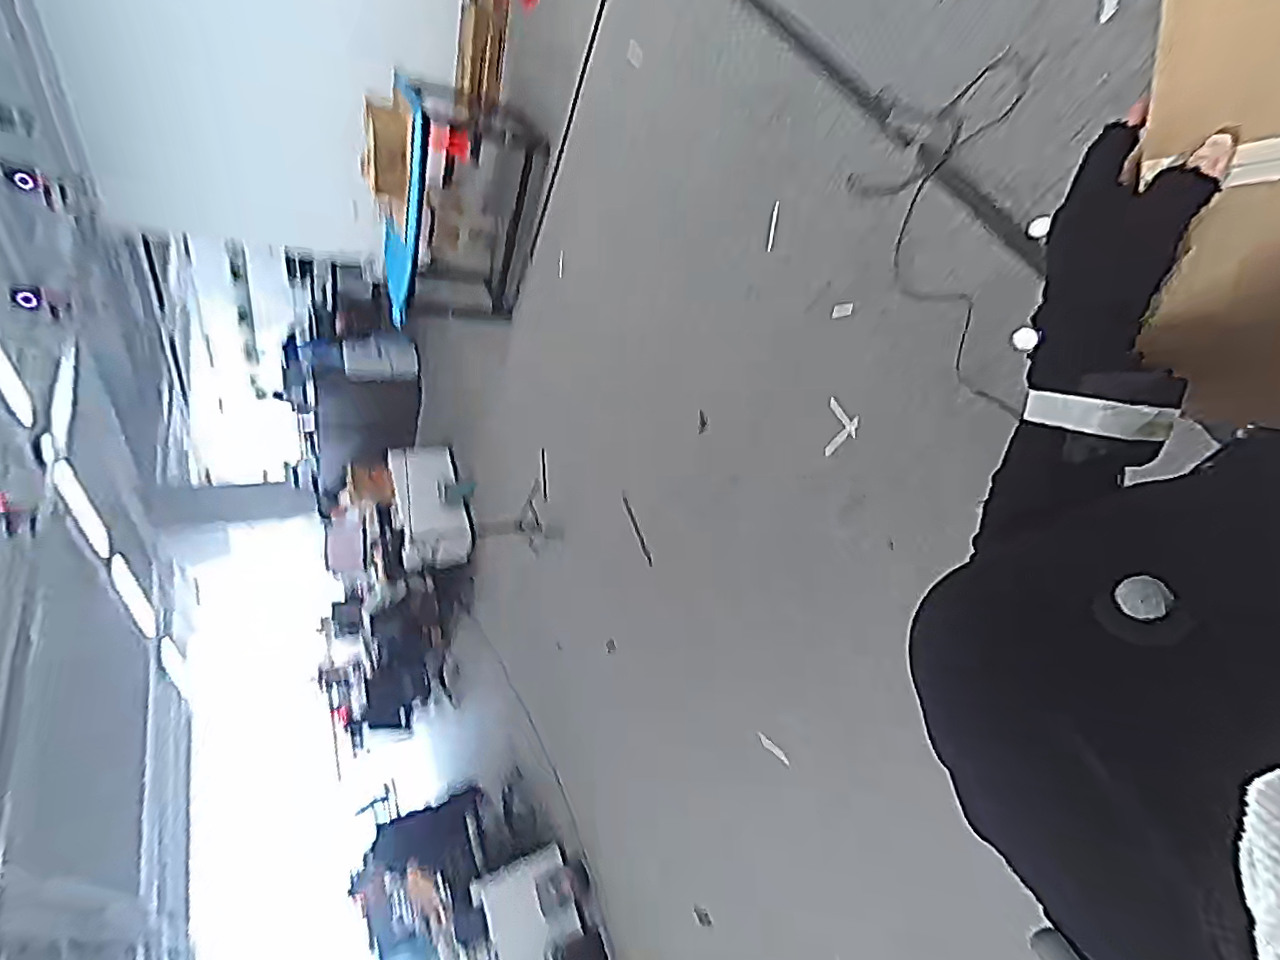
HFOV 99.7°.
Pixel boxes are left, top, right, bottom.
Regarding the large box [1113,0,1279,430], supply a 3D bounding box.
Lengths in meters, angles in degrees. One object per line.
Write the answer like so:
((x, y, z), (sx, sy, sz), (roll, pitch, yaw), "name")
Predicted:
((0.539, -0.209, 0.252), (0.408, 0.320, 0.320), (22, 137, 53), "large box")
